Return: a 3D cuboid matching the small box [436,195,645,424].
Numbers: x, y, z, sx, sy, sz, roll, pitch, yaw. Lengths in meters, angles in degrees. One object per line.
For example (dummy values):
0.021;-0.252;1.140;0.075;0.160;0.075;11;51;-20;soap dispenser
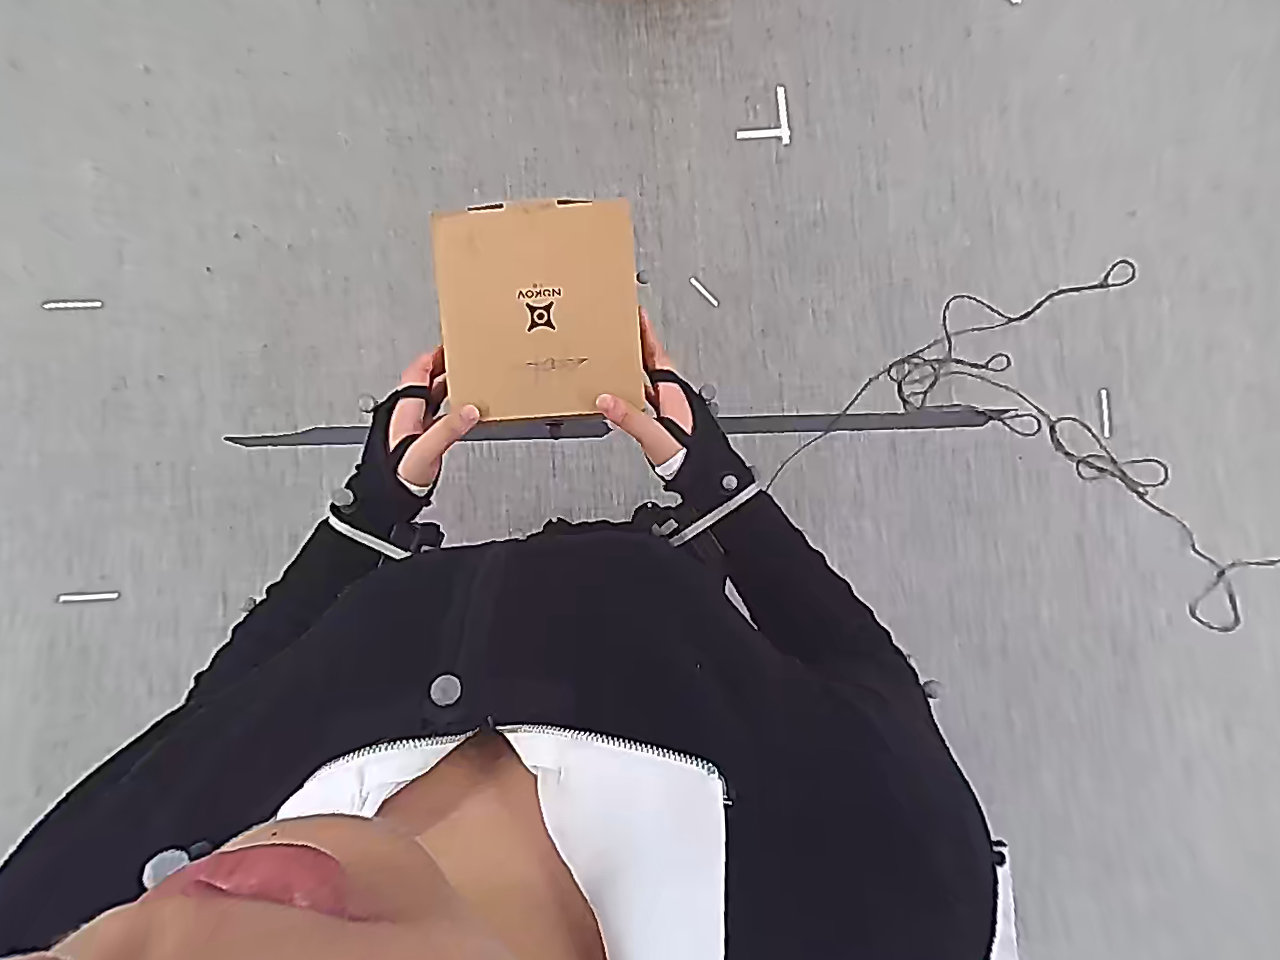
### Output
-0.084;-0.150;0.529;0.168;0.176;0.179;-4;94;-1;small box
